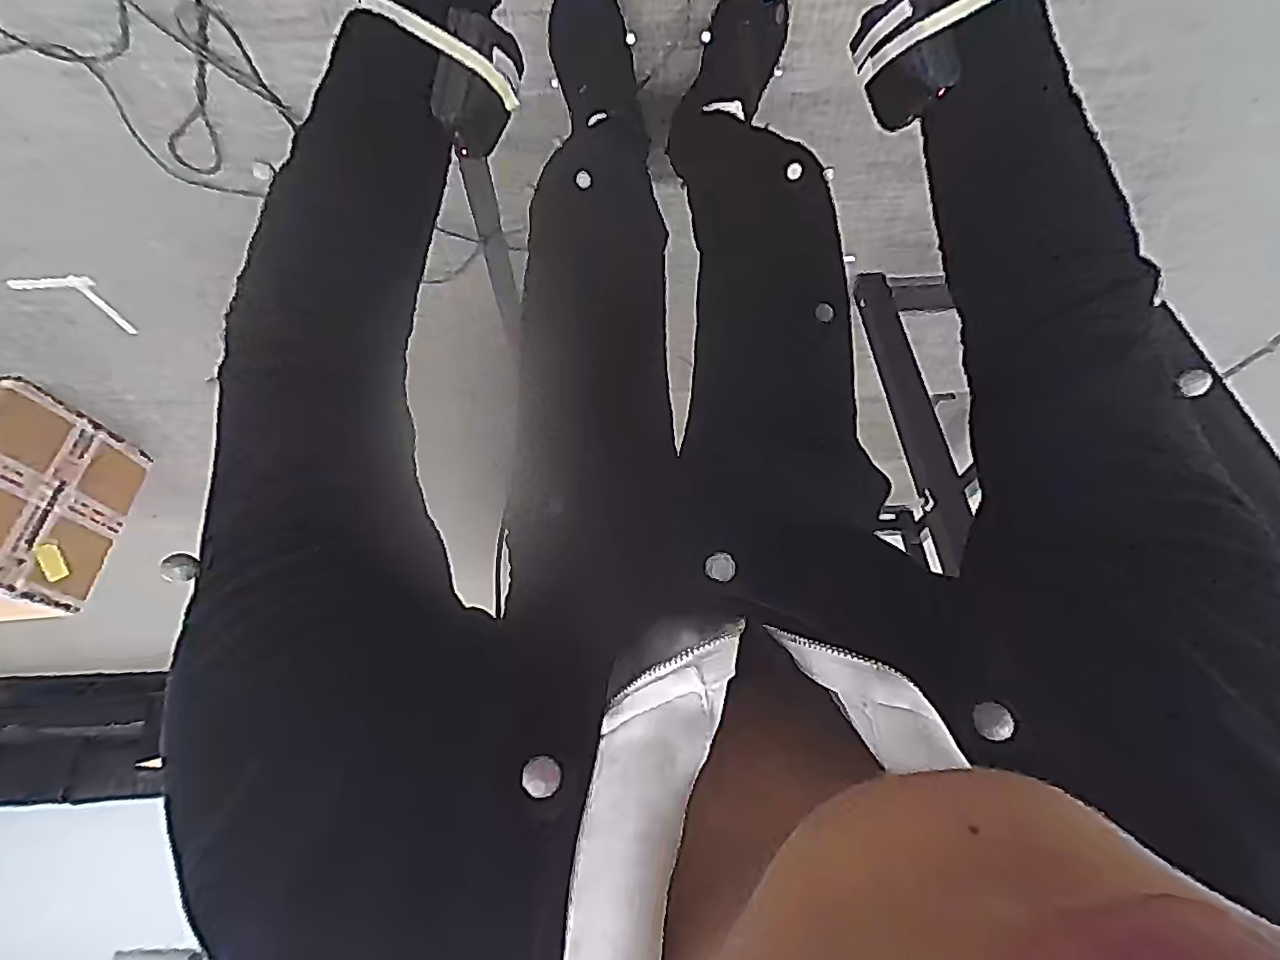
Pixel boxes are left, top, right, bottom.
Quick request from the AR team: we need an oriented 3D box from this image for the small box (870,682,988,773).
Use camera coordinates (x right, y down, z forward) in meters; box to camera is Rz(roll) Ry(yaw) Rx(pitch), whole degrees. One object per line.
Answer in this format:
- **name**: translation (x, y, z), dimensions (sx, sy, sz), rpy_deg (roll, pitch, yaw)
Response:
- **small box**: translation (0.643, 0.562, 1.232), dimensions (0.168, 0.176, 0.179), rpy_deg (-5, 149, 4)
